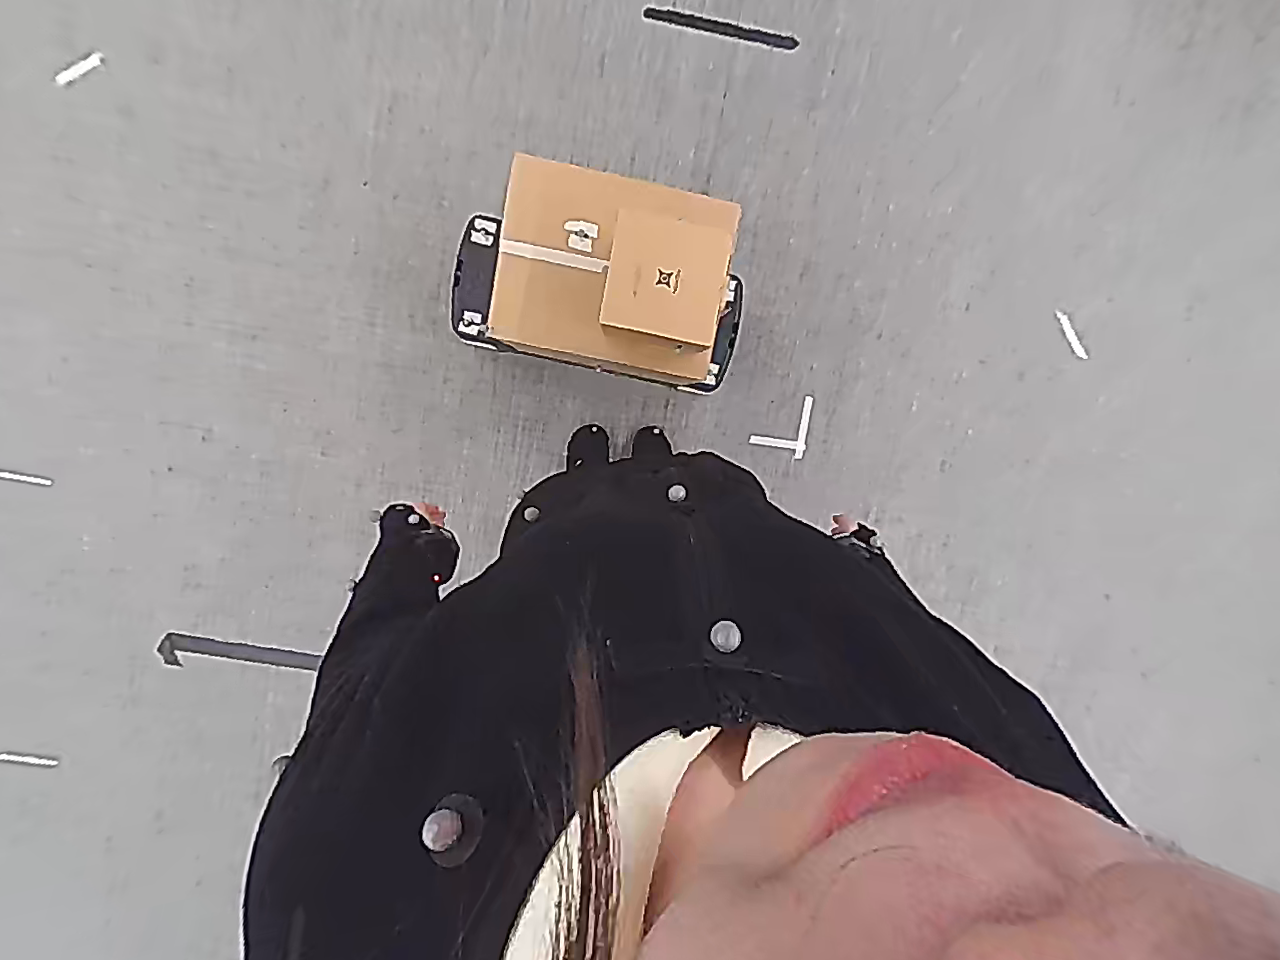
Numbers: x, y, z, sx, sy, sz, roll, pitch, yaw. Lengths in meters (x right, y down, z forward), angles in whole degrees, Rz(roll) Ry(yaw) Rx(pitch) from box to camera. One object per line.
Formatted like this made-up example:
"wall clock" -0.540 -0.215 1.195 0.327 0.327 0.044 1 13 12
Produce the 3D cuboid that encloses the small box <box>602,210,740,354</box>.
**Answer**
"small box" 0.041 -0.300 0.861 0.179 0.176 0.168 11 98 -4

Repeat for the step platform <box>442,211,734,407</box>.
"step platform" -0.119 -0.403 1.327 0.684 0.204 0.286 16 97 -4

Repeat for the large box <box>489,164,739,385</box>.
"large box" -0.050 -0.377 1.094 0.408 0.320 0.320 11 97 -3
